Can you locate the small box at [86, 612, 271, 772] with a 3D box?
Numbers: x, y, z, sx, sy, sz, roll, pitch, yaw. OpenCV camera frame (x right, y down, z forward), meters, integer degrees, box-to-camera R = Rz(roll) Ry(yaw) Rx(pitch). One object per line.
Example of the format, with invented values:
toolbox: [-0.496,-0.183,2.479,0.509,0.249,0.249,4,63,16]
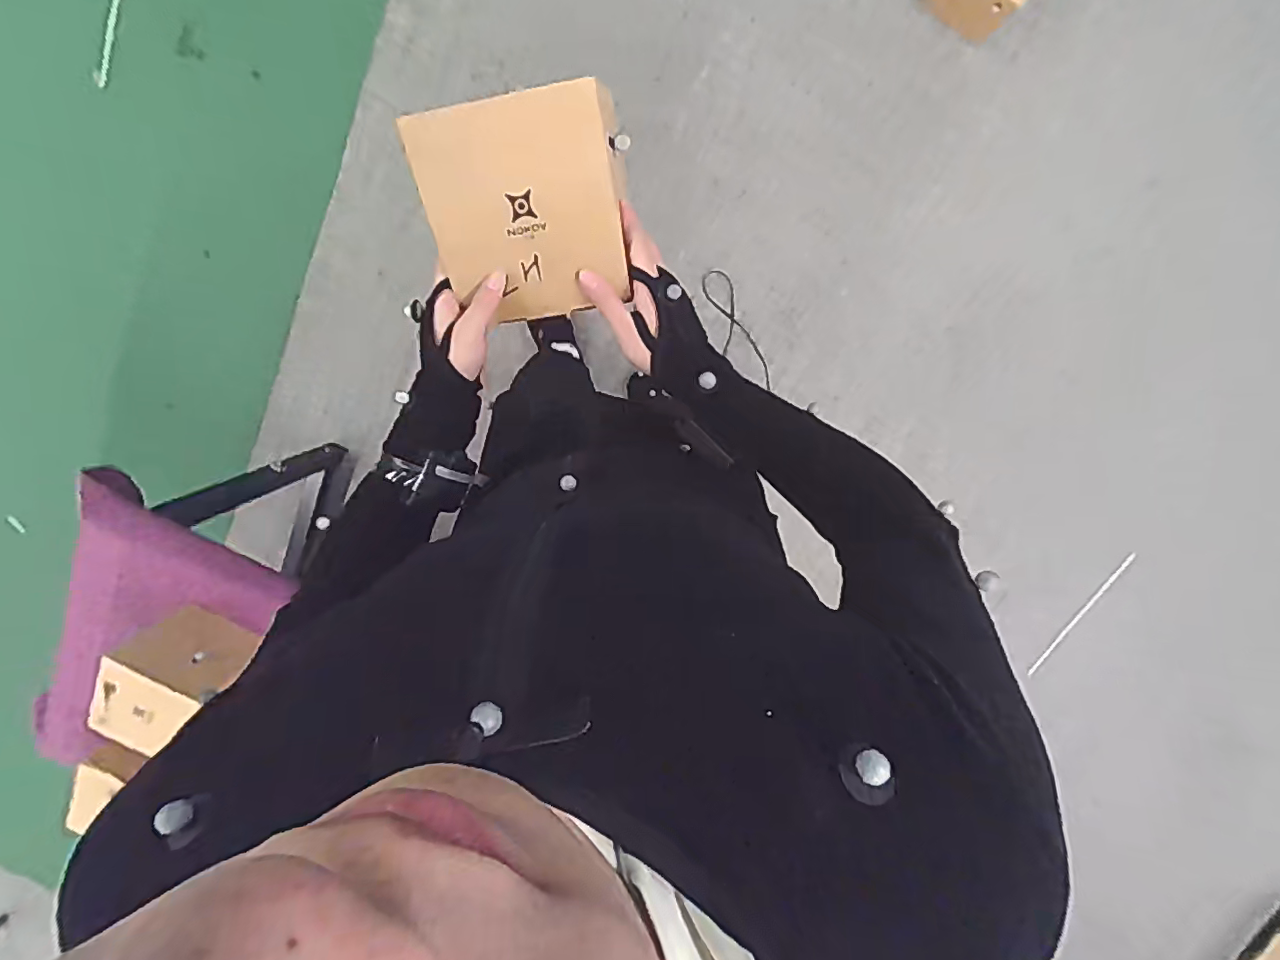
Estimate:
small box: [-0.810,0.368,0.965,0.179,0.176,0.168,28,108,-5]

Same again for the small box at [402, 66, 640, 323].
small box: [-0.094,-0.271,0.527,0.168,0.176,0.179,-6,122,7]

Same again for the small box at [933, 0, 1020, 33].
small box: [0.760,-1.113,1.151,0.179,0.176,0.168,30,107,-5]

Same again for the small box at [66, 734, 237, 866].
small box: [-0.925,0.578,1.039,0.168,0.176,0.179,27,107,-4]
